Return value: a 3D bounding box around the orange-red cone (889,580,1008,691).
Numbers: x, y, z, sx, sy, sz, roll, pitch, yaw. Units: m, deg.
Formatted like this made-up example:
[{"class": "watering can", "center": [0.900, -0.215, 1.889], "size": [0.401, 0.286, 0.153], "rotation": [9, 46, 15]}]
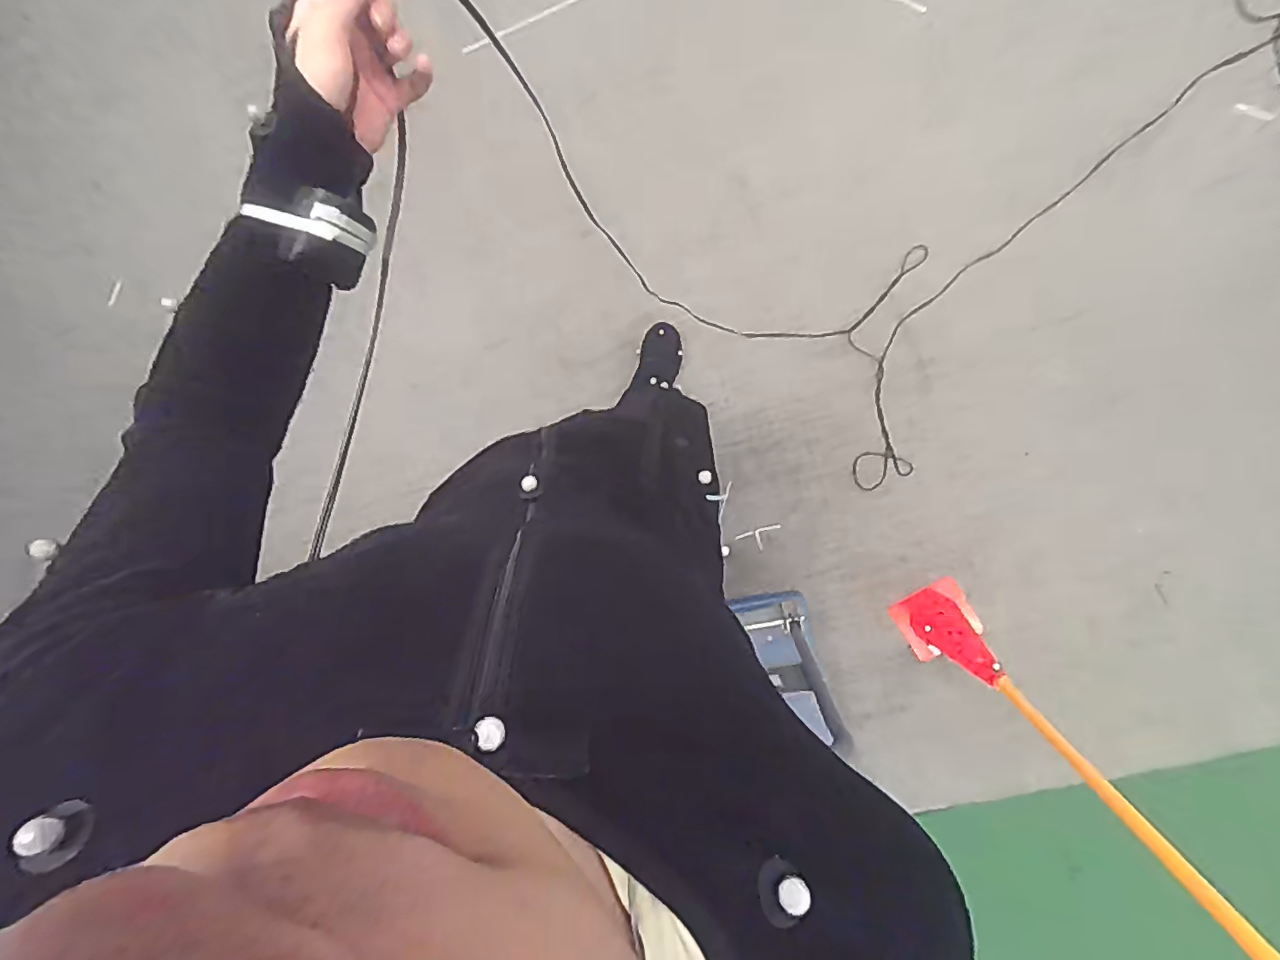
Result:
[{"class": "orange-red cone", "center": [0.831, 0.432, 1.396], "size": [0.199, 0.360, 0.198], "rotation": [-31, 96, 9]}]
